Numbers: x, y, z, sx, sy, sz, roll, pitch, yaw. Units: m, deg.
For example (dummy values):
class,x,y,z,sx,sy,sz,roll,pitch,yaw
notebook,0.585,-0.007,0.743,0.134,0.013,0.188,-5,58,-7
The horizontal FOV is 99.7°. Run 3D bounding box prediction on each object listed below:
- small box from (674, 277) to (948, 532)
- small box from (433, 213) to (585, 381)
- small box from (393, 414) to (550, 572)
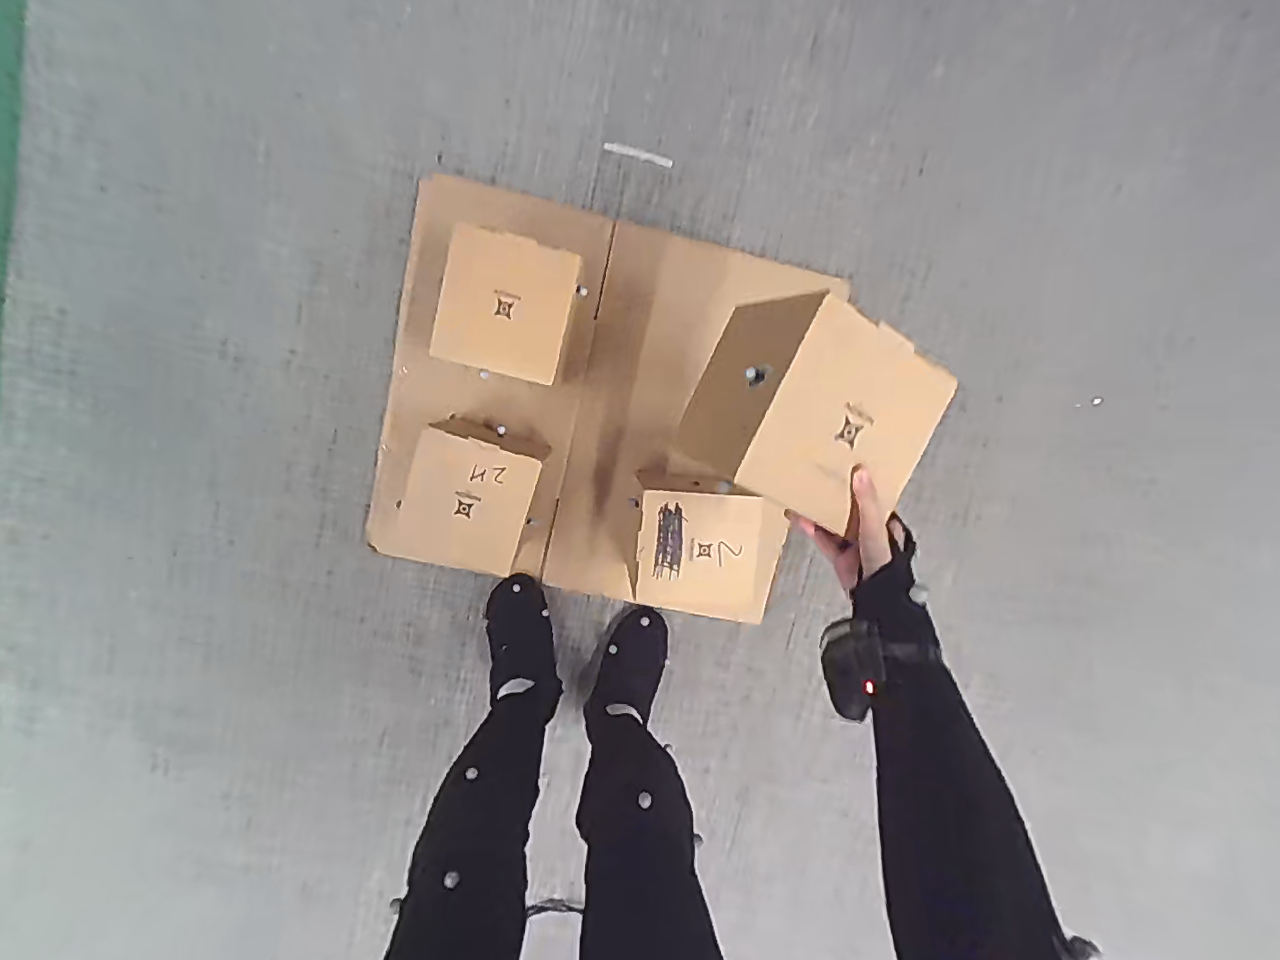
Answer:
class,x,y,z,sx,sy,sz,roll,pitch,yaw
small box,0.157,-0.075,0.550,0.168,0.176,0.179,25,94,-20
small box,-0.176,-0.245,0.775,0.168,0.176,0.179,14,97,-7
small box,-0.238,0.010,0.809,0.168,0.176,0.179,18,97,-8
